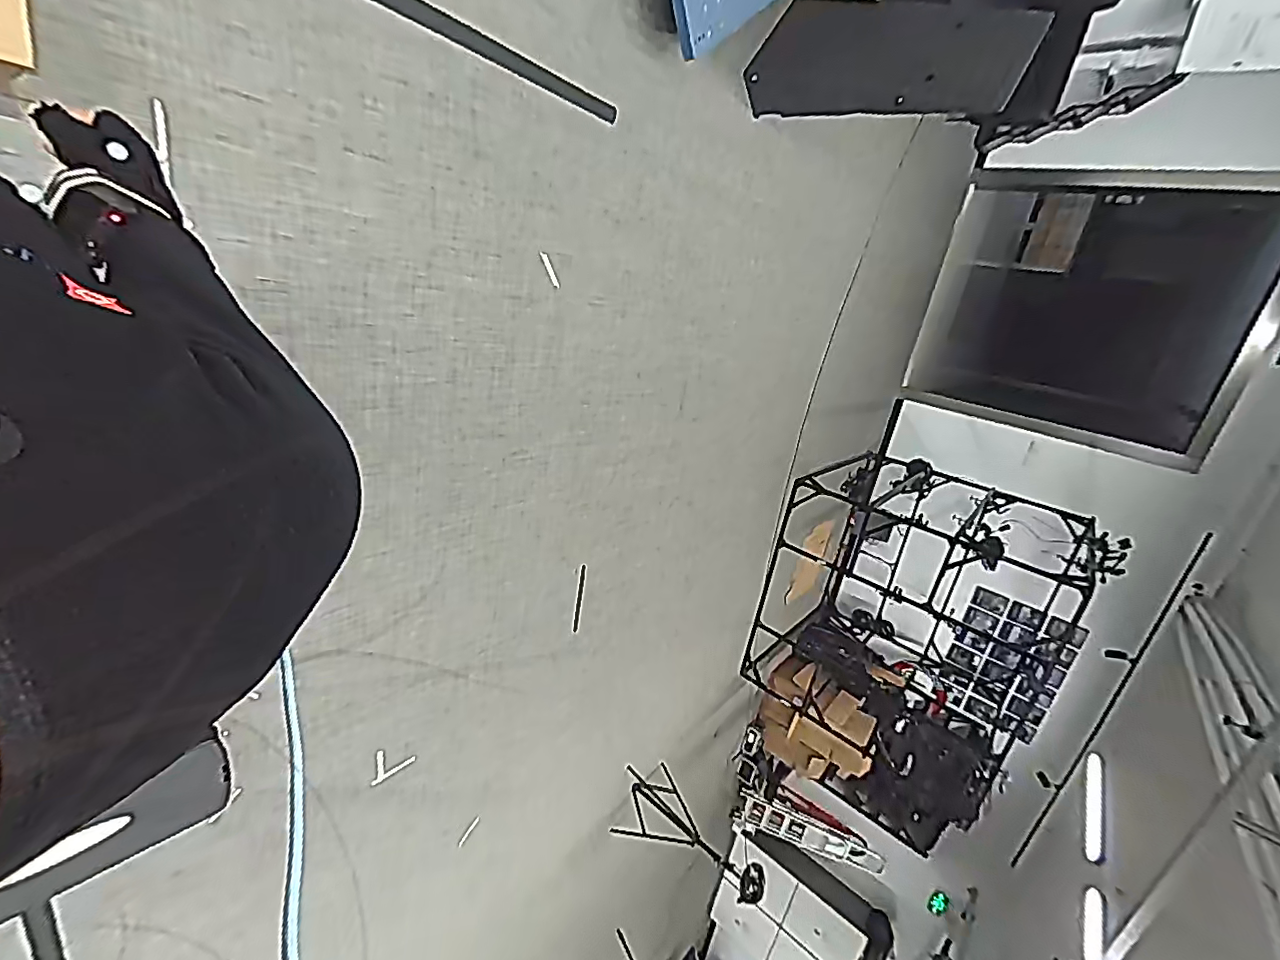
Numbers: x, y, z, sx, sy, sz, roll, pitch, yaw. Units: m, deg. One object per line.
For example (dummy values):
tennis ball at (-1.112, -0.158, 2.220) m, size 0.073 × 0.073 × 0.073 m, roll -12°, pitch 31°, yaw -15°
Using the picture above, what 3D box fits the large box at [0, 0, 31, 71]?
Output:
large box at (-1.029, -0.721, 0.602) m, size 0.408 × 0.320 × 0.320 m, roll -15°, pitch 122°, yaw -51°
